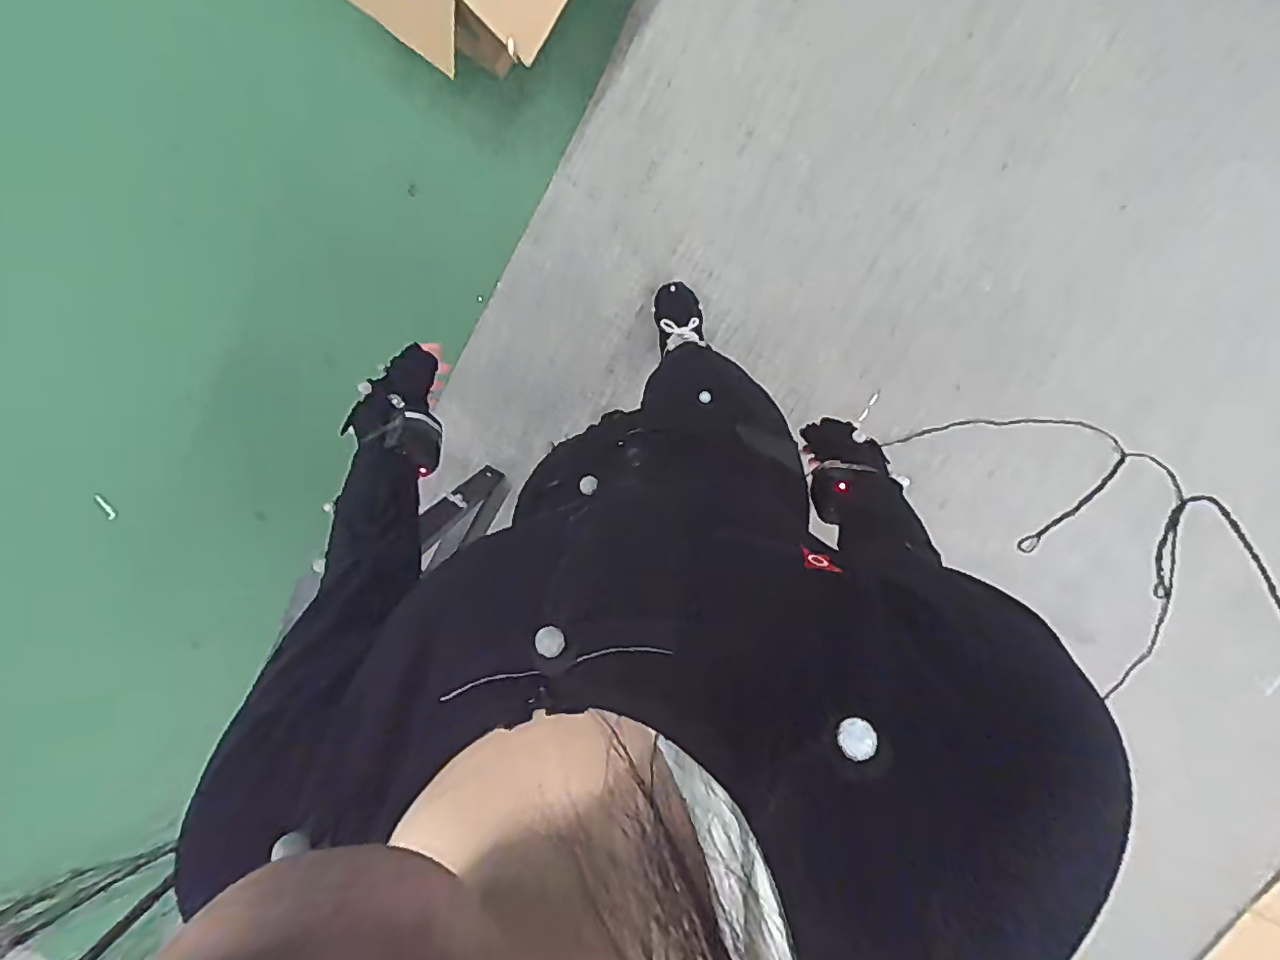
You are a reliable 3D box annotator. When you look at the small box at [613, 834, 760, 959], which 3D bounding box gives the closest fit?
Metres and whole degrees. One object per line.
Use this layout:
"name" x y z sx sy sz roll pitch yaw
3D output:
"small box" 0.069 0.704 0.832 0.168 0.176 0.179 31 101 -7
